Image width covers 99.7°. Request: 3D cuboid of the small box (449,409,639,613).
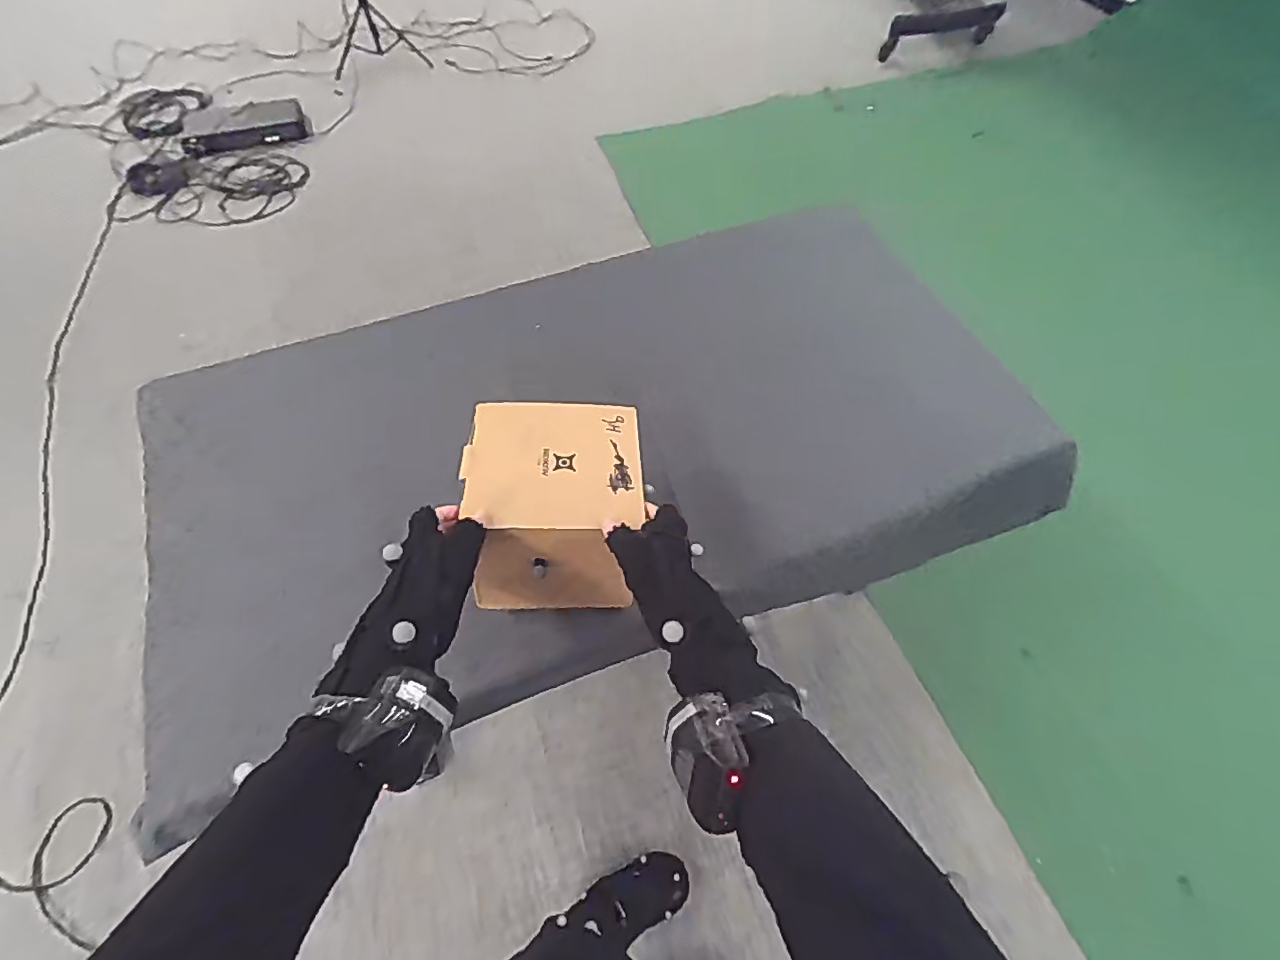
[{"bbox_3d":[-0.094,0.039,0.602,0.179,0.176,0.168,0,51,-5],"label":"small box"}]
